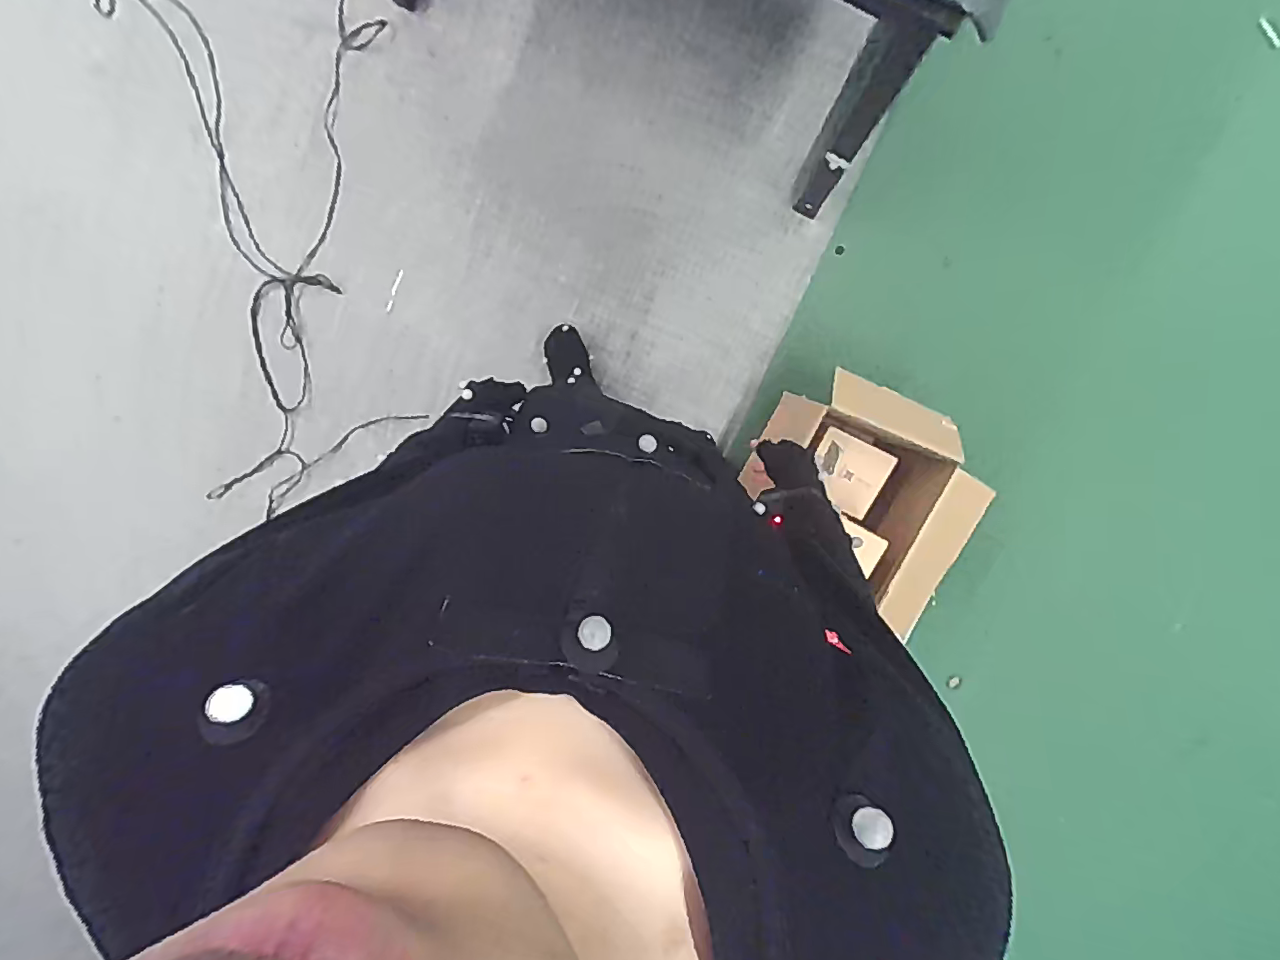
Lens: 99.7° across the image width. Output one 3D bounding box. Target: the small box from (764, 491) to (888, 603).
[{"bbox_3d":[0.400,0.137,1.193,0.179,0.176,0.168,28,97,-2],"label":"small box"}]
